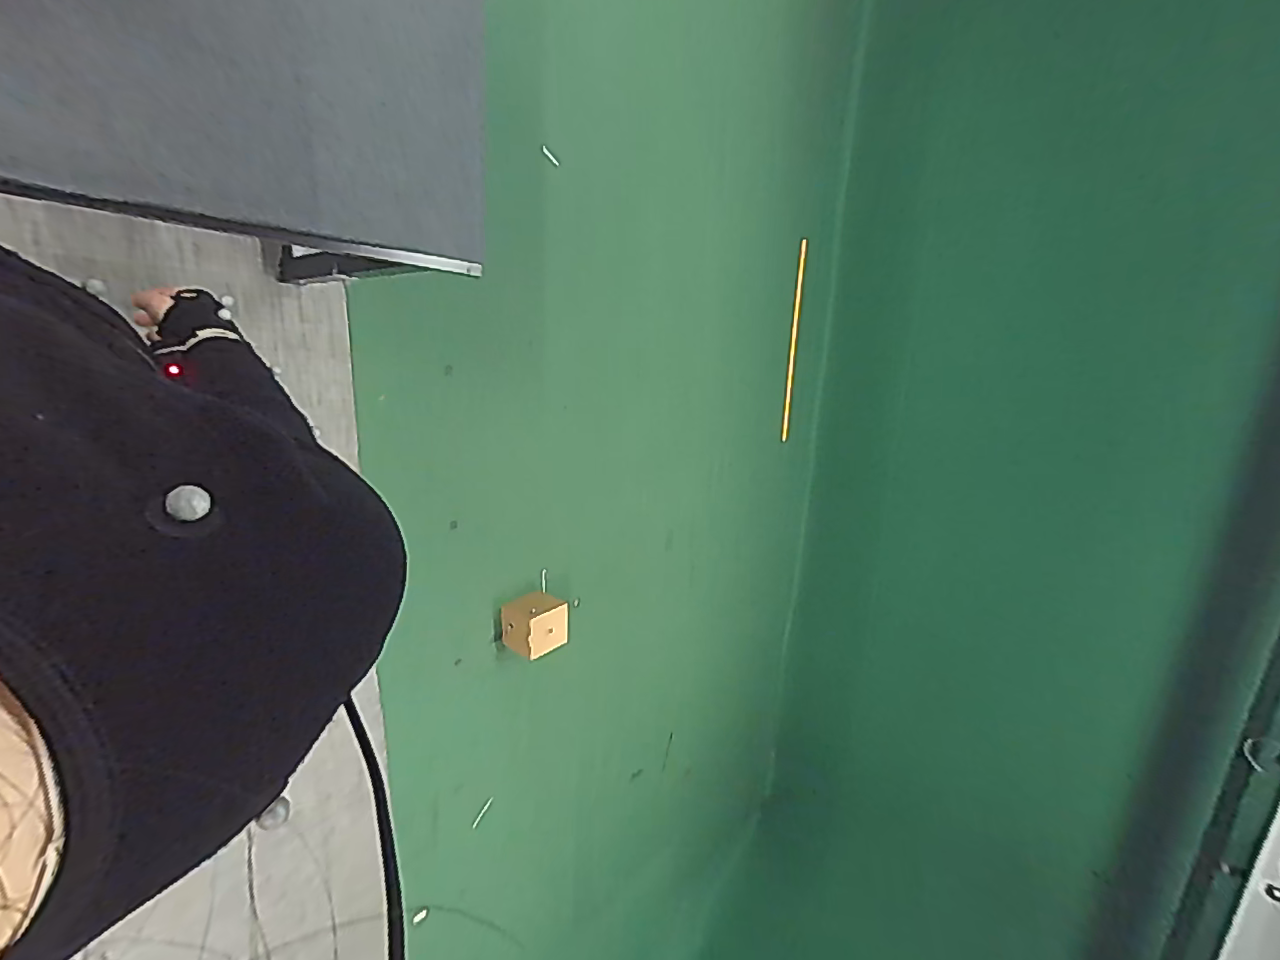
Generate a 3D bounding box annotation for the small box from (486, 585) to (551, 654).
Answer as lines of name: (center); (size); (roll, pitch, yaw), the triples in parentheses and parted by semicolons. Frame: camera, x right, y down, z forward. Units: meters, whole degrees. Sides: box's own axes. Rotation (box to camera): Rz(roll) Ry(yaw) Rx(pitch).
small box: (-0.453, 0.510, 2.012); (0.179, 0.176, 0.168); (-16, 114, -49)
